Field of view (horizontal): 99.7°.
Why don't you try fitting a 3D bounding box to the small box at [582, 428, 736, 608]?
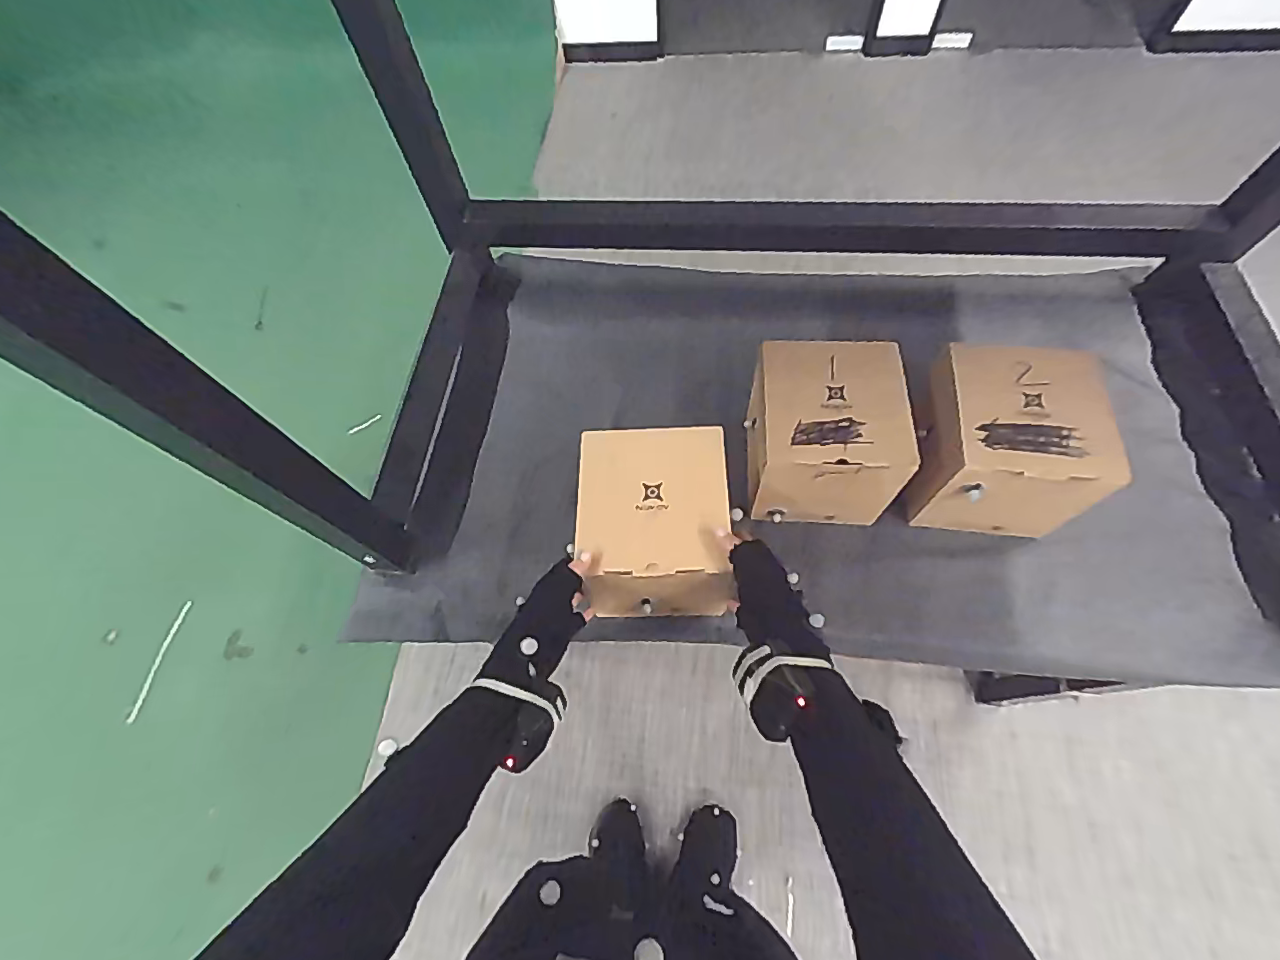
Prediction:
[{"bbox_3d":[0.025,0.053,0.675,0.168,0.176,0.179,-2,63,4],"label":"small box"}]
